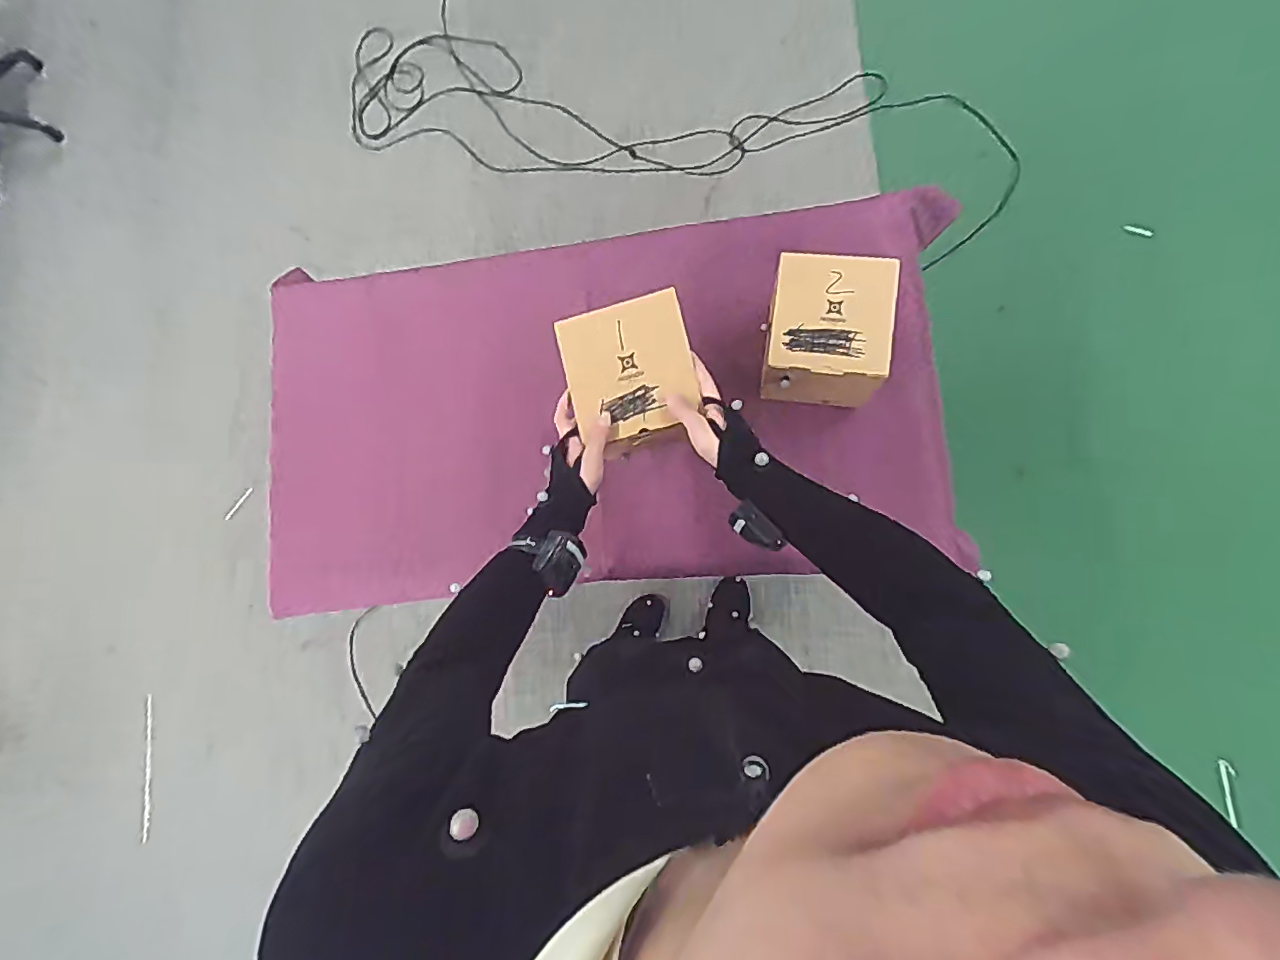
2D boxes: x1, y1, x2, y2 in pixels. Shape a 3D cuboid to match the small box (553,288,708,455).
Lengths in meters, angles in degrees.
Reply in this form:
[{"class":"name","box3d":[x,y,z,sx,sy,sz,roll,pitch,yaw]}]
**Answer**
[{"class":"small box","box3d":[-0.003,-0.138,0.763,0.168,0.176,0.179,-15,85,8]}]
